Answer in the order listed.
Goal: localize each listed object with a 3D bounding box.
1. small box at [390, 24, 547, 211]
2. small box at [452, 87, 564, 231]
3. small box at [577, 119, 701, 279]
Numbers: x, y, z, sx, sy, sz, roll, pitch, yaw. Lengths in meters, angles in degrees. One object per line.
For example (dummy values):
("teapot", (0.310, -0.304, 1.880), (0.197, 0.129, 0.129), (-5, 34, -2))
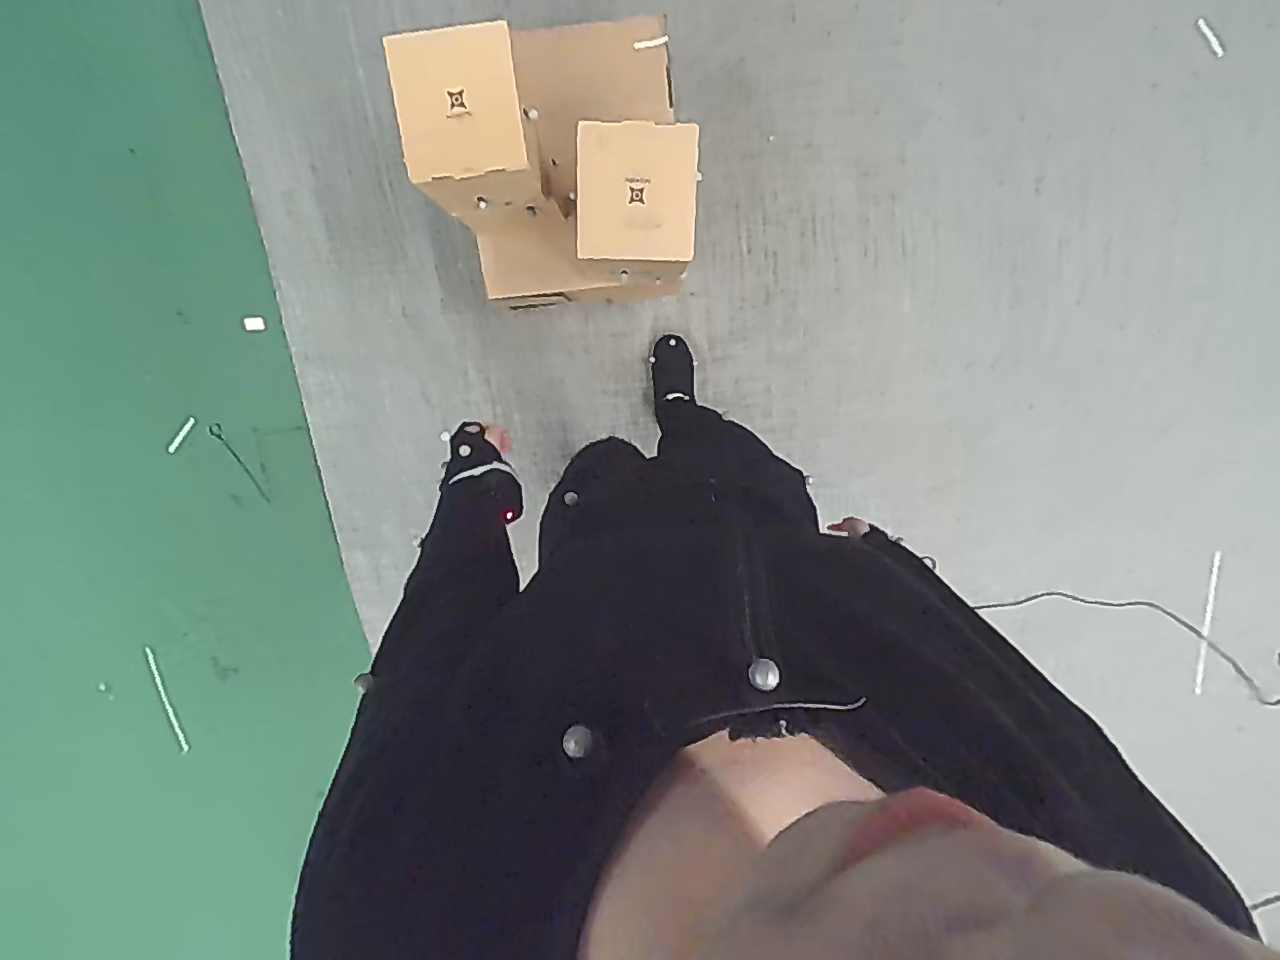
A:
("small box", (-0.238, -0.516, 0.794), (0.168, 0.176, 0.179), (-5, 103, 1))
("small box", (-0.235, -0.554, 0.953), (0.179, 0.176, 0.168), (-7, 102, 2))
("small box", (-0.005, -0.412, 0.819), (0.168, 0.176, 0.179), (2, 104, -1))
